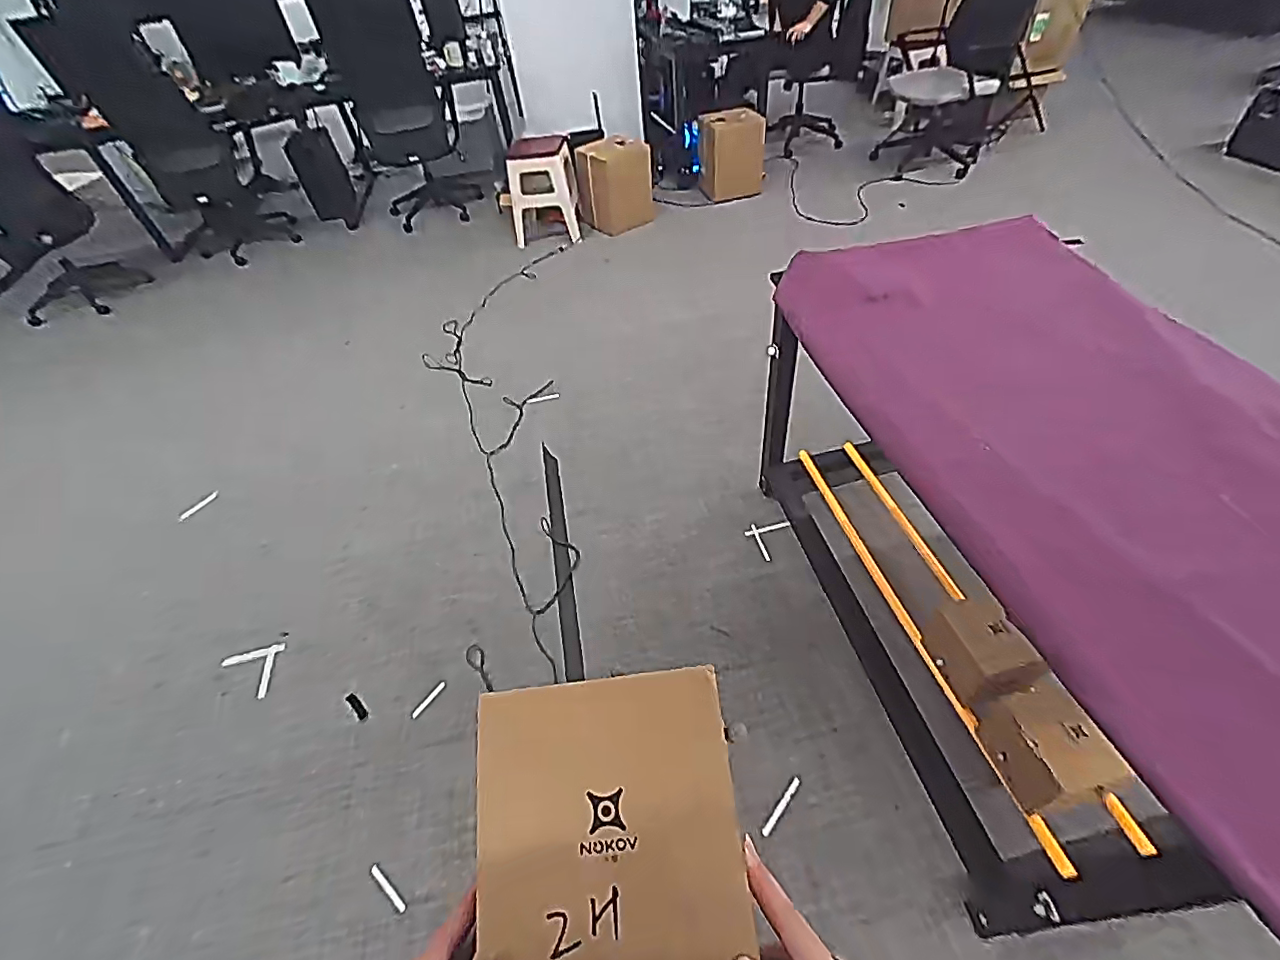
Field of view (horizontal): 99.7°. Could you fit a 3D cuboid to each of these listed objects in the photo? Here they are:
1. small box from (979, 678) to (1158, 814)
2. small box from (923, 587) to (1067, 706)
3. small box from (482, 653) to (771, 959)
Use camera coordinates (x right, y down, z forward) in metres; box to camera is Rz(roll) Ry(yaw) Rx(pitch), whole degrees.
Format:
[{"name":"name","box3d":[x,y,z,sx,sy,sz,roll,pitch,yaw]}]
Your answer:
[{"name":"small box","box3d":[0.793,0.505,1.024,0.179,0.176,0.168,-15,46,-3]},{"name":"small box","box3d":[0.751,0.361,1.167,0.179,0.176,0.168,-15,46,-3]},{"name":"small box","box3d":[-0.009,0.238,0.405,0.168,0.176,0.179,-8,66,3]}]
